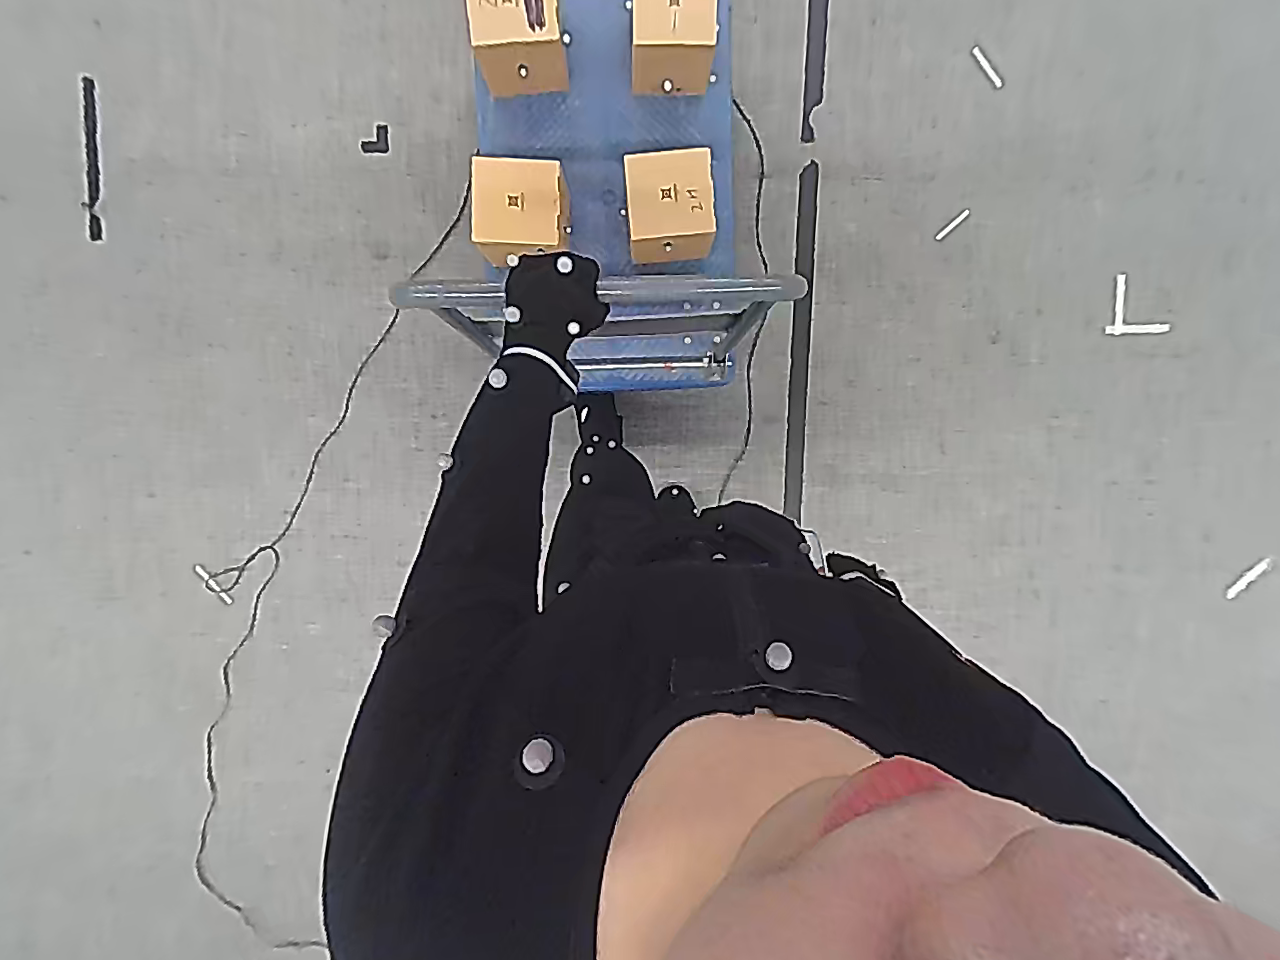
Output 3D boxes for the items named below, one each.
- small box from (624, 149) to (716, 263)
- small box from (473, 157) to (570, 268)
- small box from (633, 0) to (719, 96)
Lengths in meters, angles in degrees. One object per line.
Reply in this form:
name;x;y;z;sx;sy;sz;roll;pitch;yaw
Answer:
small box;0.062;-0.577;1.158;0.179;0.176;0.168;-5;96;0
small box;-0.247;-0.562;1.156;0.179;0.176;0.168;1;96;-3
small box;0.069;-0.941;1.122;0.168;0.176;0.179;0;97;-1
